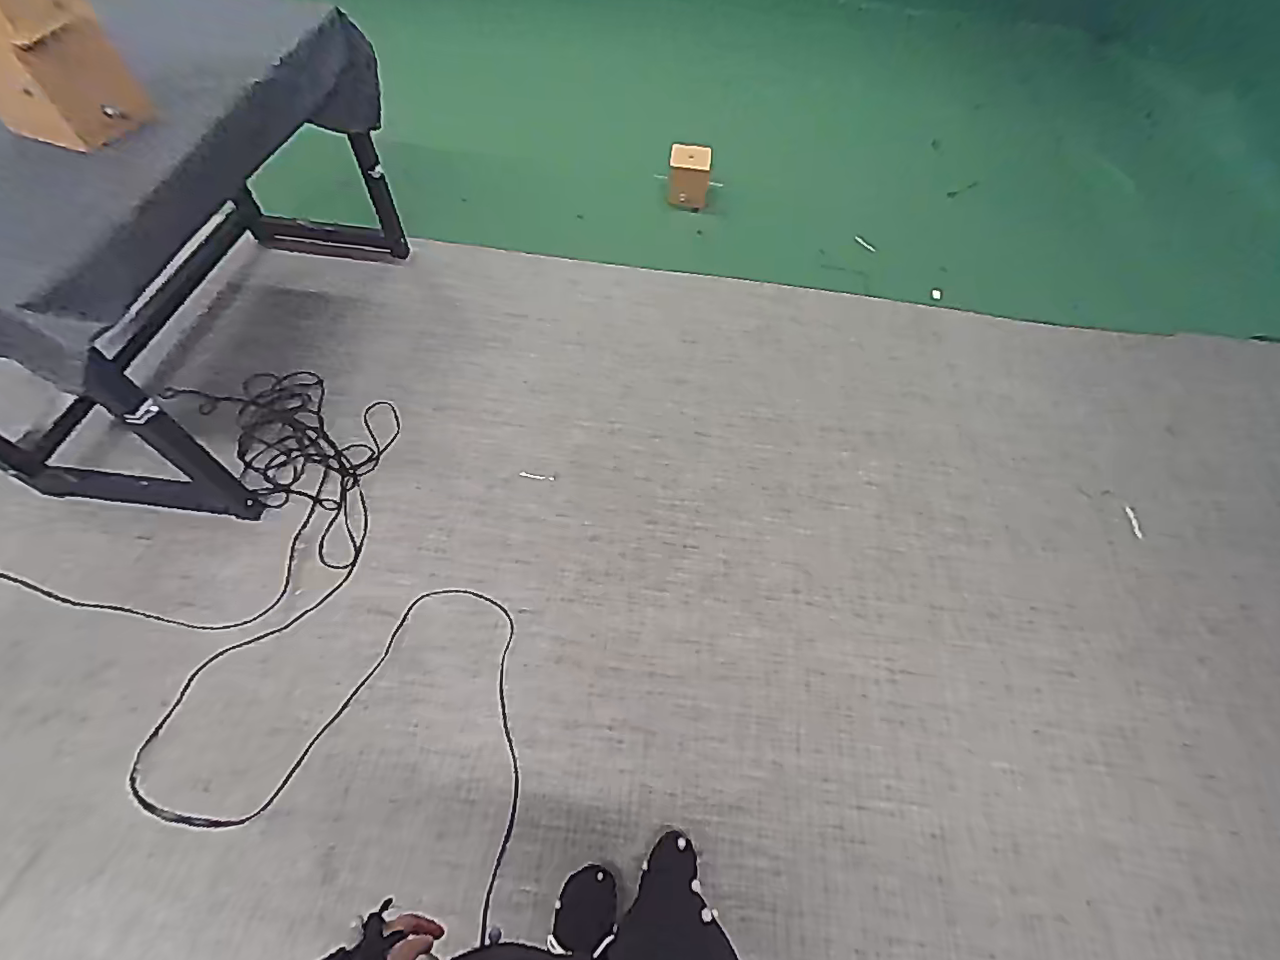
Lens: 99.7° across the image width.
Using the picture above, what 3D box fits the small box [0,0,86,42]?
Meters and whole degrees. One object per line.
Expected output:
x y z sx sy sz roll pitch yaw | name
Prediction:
-1.064 -0.830 0.855 0.179 0.176 0.168 9 58 2 | small box

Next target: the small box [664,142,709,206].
0.195 -1.296 2.293 0.168 0.176 0.179 6 59 1 | small box
